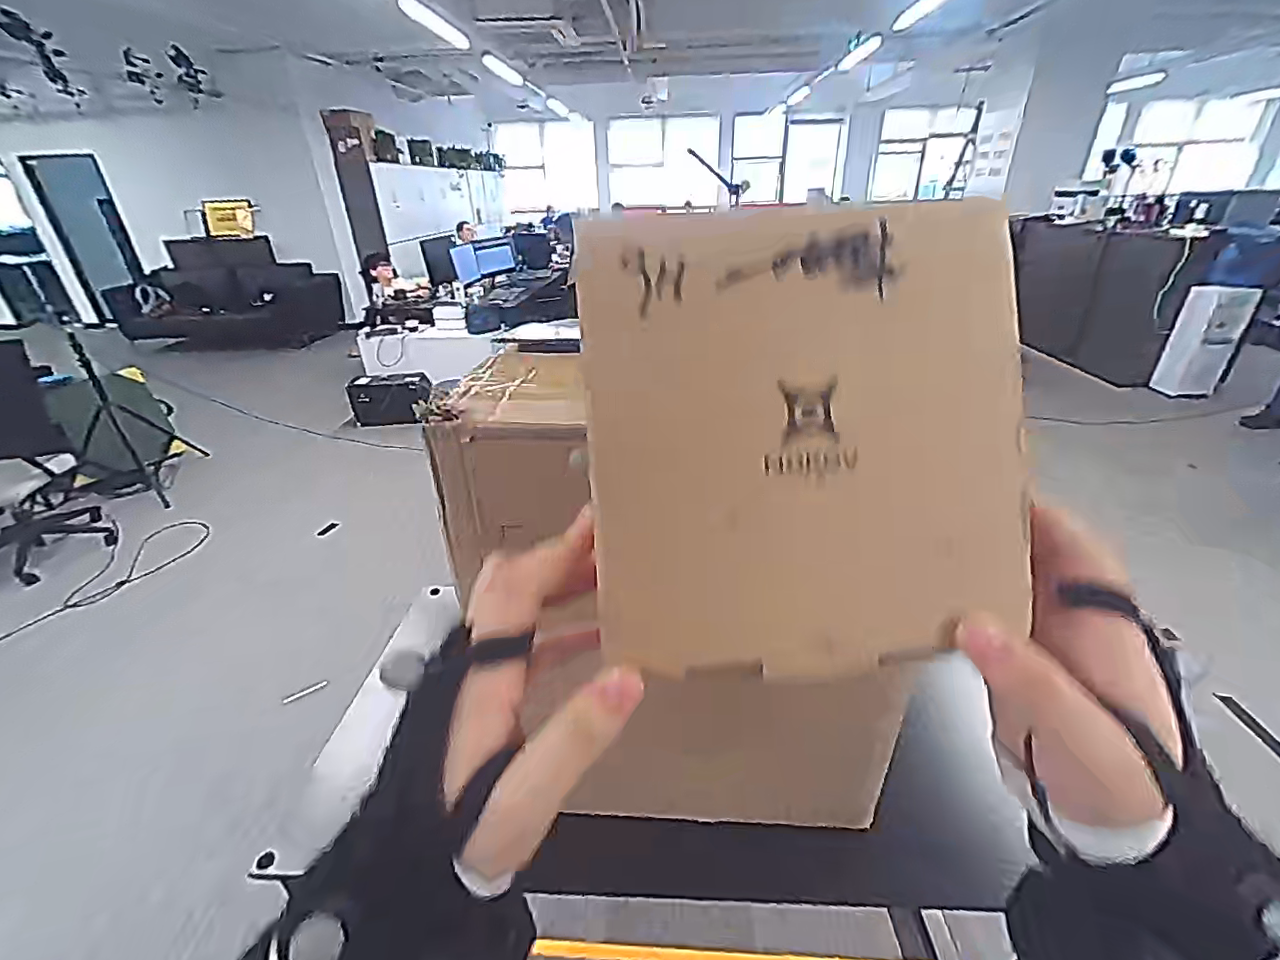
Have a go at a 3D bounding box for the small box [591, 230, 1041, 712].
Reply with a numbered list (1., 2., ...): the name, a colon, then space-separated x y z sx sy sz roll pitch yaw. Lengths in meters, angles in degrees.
1. small box: 0.064 -0.006 0.280 0.168 0.179 0.176 -3 3 -3
